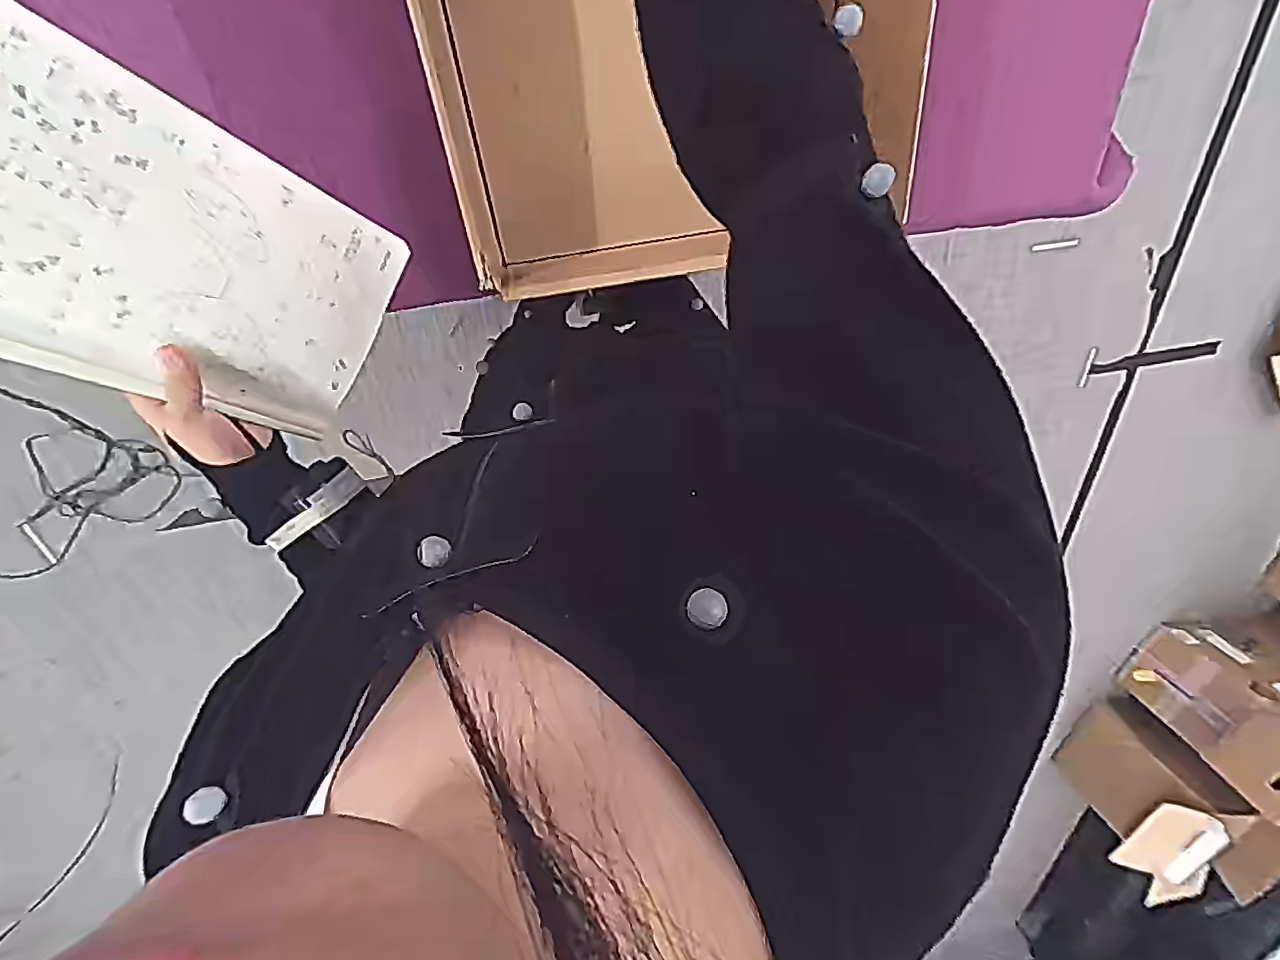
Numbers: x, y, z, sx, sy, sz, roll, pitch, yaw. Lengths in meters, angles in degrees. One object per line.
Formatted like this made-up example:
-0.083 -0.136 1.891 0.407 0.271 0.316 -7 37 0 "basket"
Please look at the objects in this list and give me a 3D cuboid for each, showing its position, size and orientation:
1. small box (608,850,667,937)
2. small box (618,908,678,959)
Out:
-0.011 1.403 1.837 0.179 0.176 0.168 -8 123 -10 "small box"
0.026 1.497 1.706 0.168 0.176 0.179 -6 122 -11 "small box"
